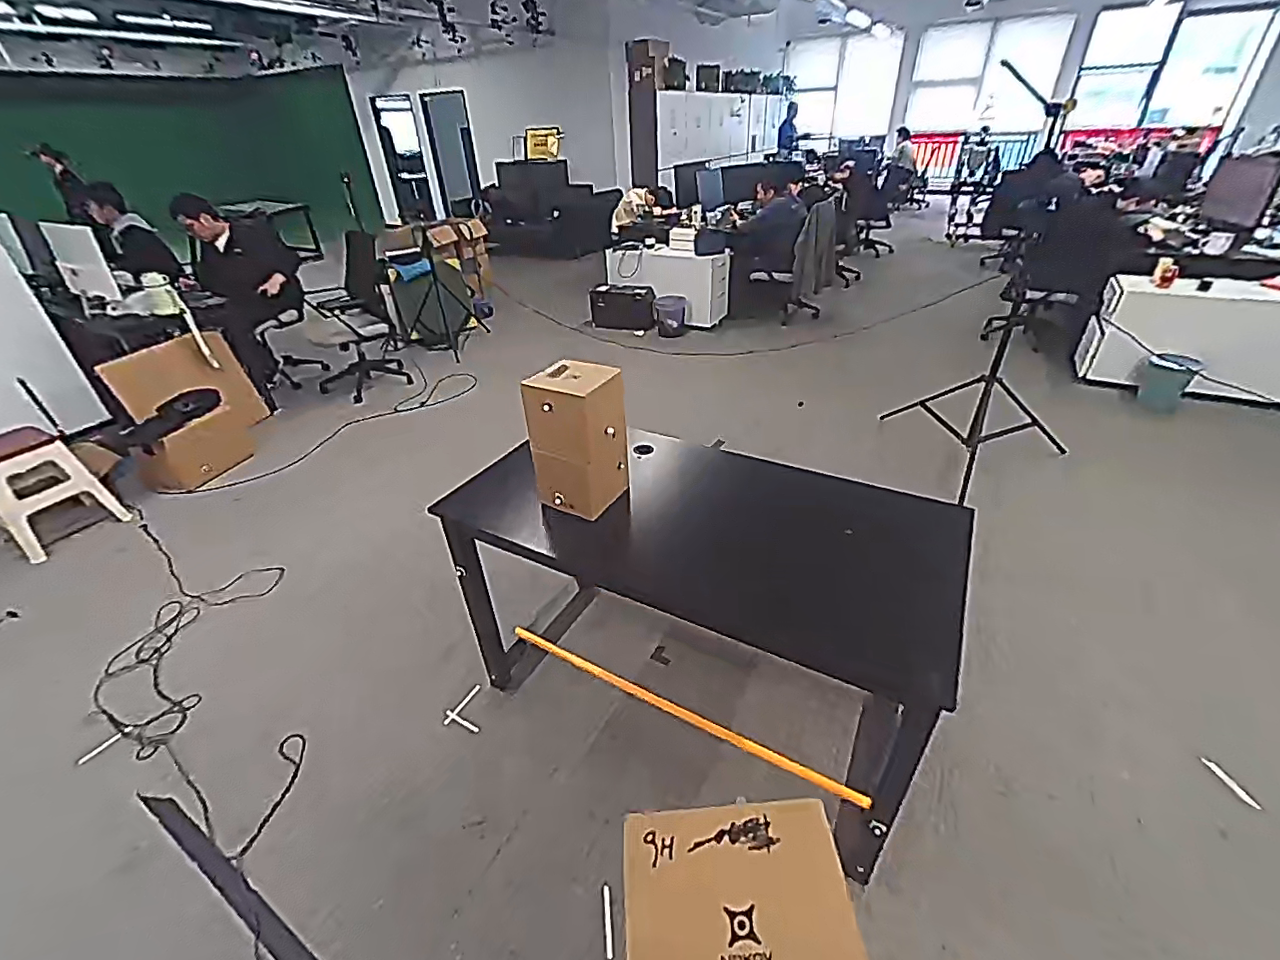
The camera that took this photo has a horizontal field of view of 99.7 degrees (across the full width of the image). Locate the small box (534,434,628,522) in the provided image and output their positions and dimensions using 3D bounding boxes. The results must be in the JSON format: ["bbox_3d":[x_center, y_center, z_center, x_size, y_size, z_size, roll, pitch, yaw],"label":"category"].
[{"bbox_3d":[-0.141,-0.024,1.361,0.168,0.176,0.179,15,38,26],"label":"small box"}]

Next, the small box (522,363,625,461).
[{"bbox_3d":[-0.149,-0.160,1.270,0.179,0.176,0.168,15,37,25],"label":"small box"}]

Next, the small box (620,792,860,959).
[{"bbox_3d":[0.074,0.379,0.433,0.168,0.176,0.179,-5,40,1],"label":"small box"}]
